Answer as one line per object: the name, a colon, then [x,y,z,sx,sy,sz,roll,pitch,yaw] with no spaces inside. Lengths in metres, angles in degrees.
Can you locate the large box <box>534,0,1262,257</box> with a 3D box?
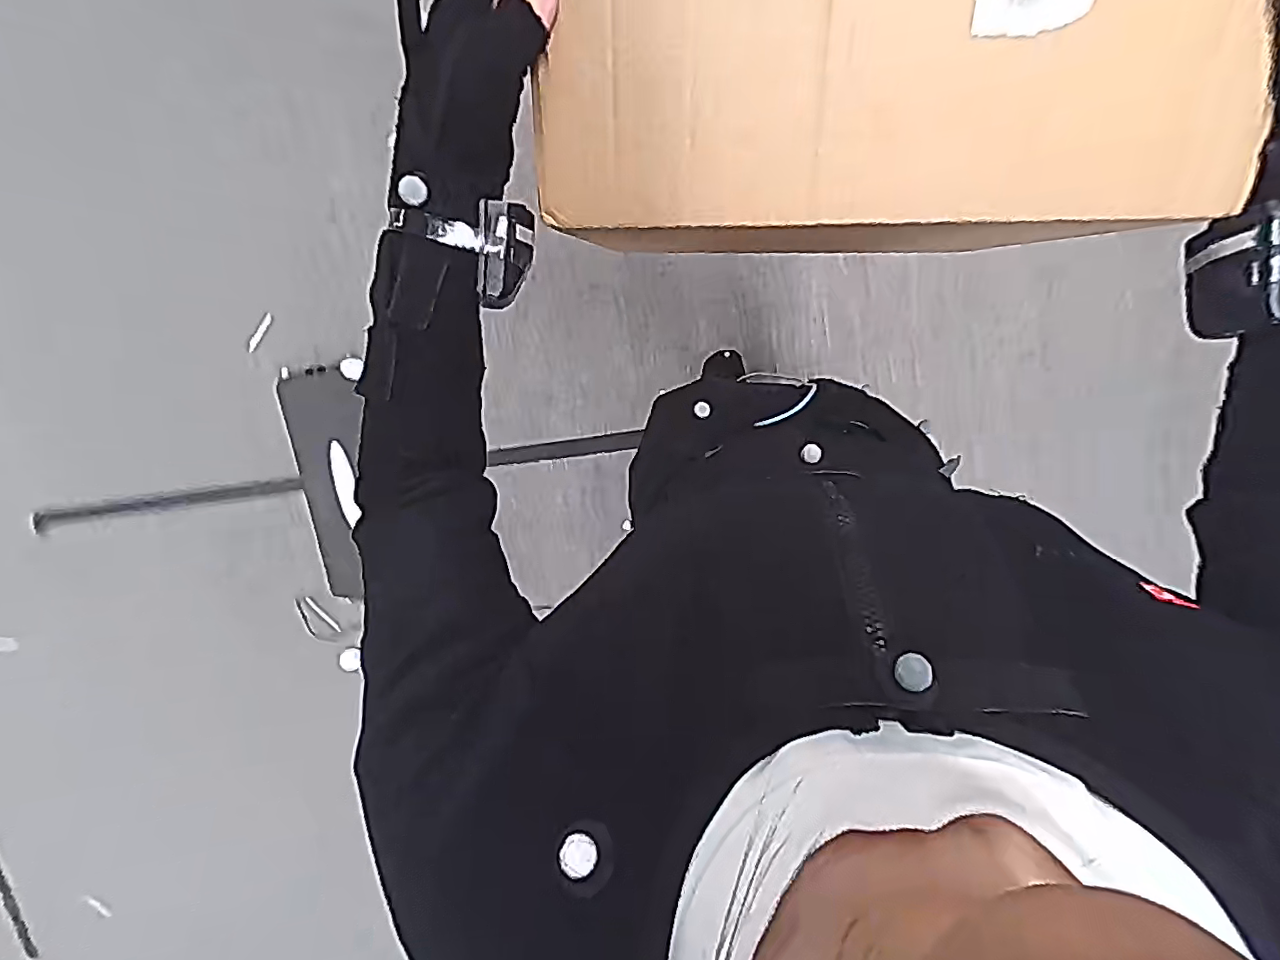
large box: [0.143,-0.361,0.428,0.408,0.320,0.320,0,110,5]
